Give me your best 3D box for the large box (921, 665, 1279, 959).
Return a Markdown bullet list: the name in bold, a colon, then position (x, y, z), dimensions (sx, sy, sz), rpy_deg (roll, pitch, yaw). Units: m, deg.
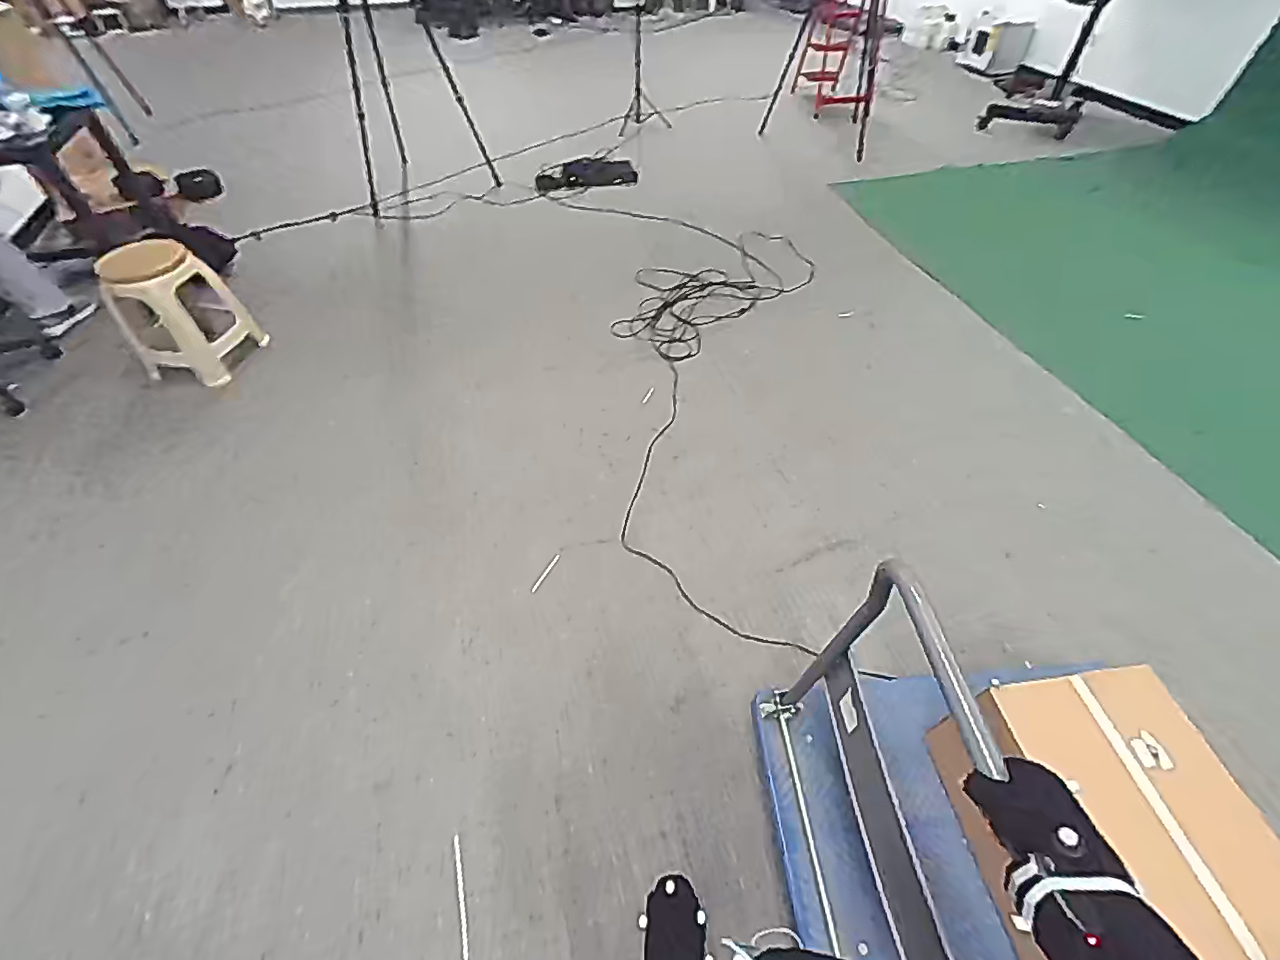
- **large box**: position (0.787, 0.601, 0.962), dimensions (0.320, 0.320, 0.408), rpy_deg (-6, 50, -5)
